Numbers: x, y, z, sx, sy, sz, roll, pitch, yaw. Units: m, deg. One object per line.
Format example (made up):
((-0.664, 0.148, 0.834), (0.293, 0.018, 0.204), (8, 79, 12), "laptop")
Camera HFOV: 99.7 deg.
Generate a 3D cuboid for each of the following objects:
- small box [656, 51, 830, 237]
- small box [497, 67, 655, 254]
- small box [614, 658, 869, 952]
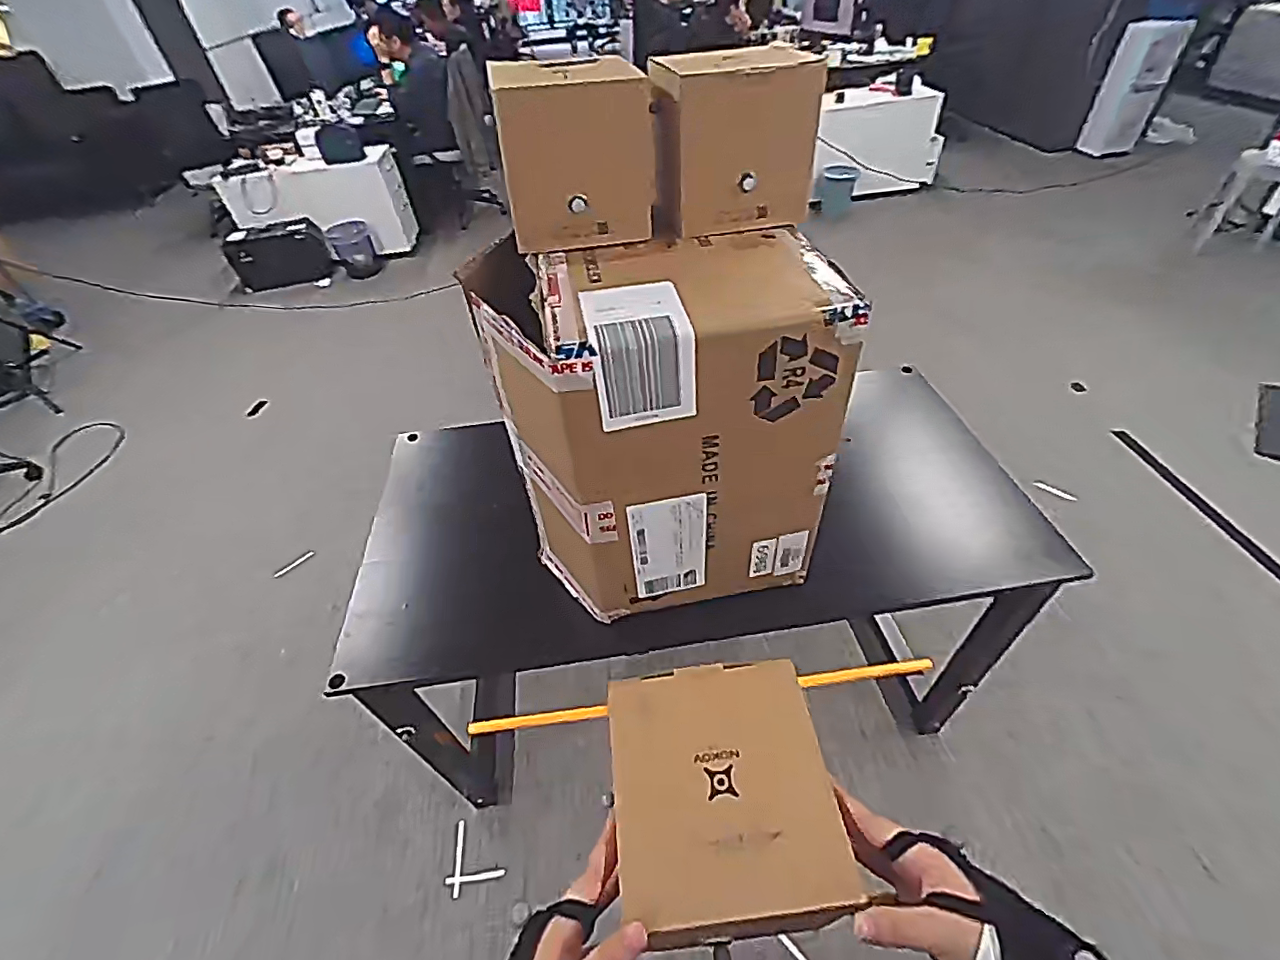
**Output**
((0.116, -0.428, 0.689), (0.168, 0.176, 0.179), (-10, 44, -5), "small box")
((-0.080, -0.398, 0.672), (0.168, 0.176, 0.179), (-10, 43, -8), "small box")
((0.069, 0.283, 0.473), (0.168, 0.176, 0.179), (-7, 46, -2), "small box")
